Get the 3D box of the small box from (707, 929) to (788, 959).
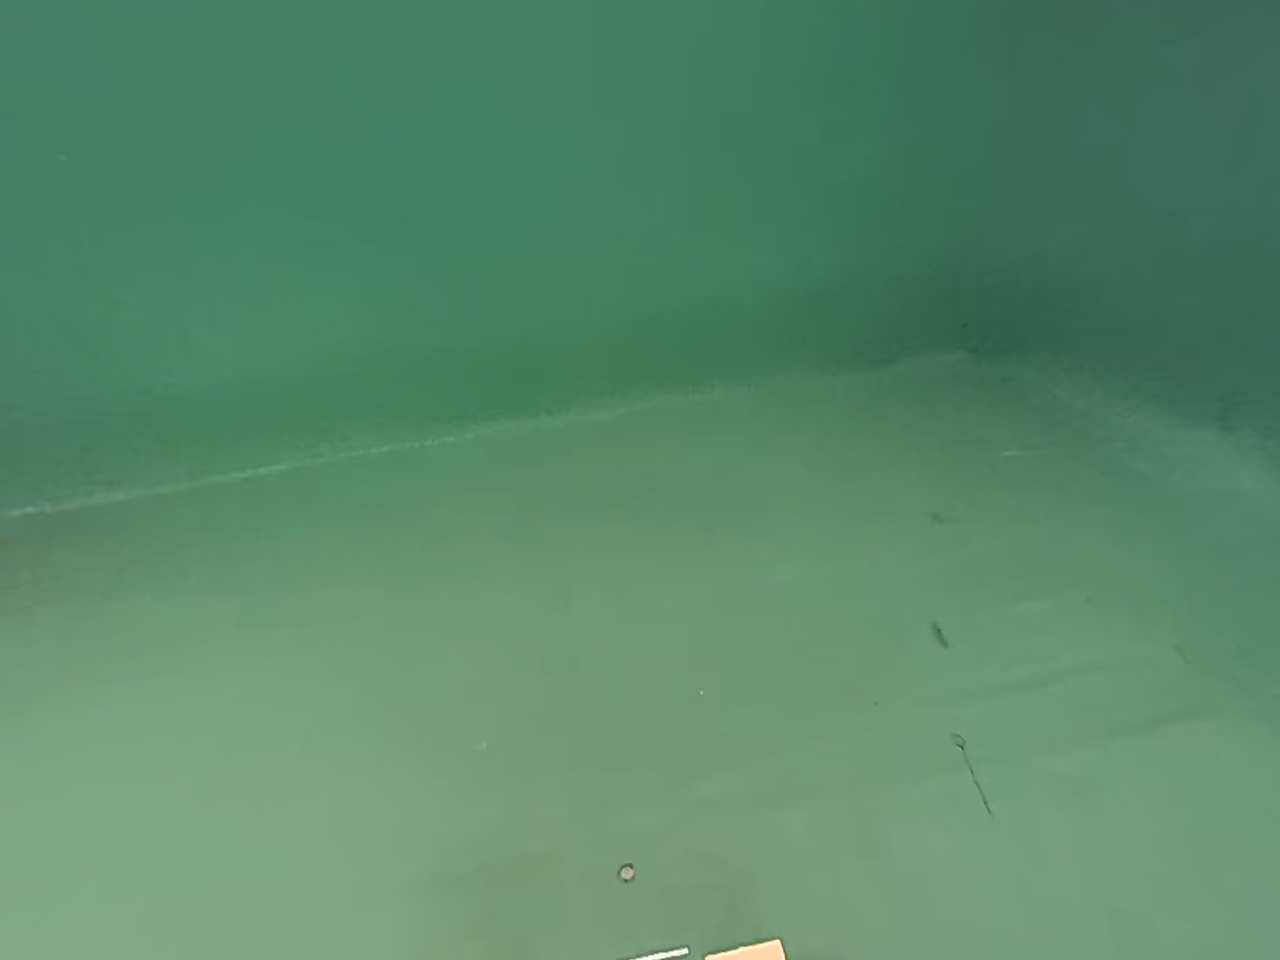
[{"bbox_3d":[0.236,1.086,1.132,0.168,0.176,0.179,-9,40,-4],"label":"small box"}]
